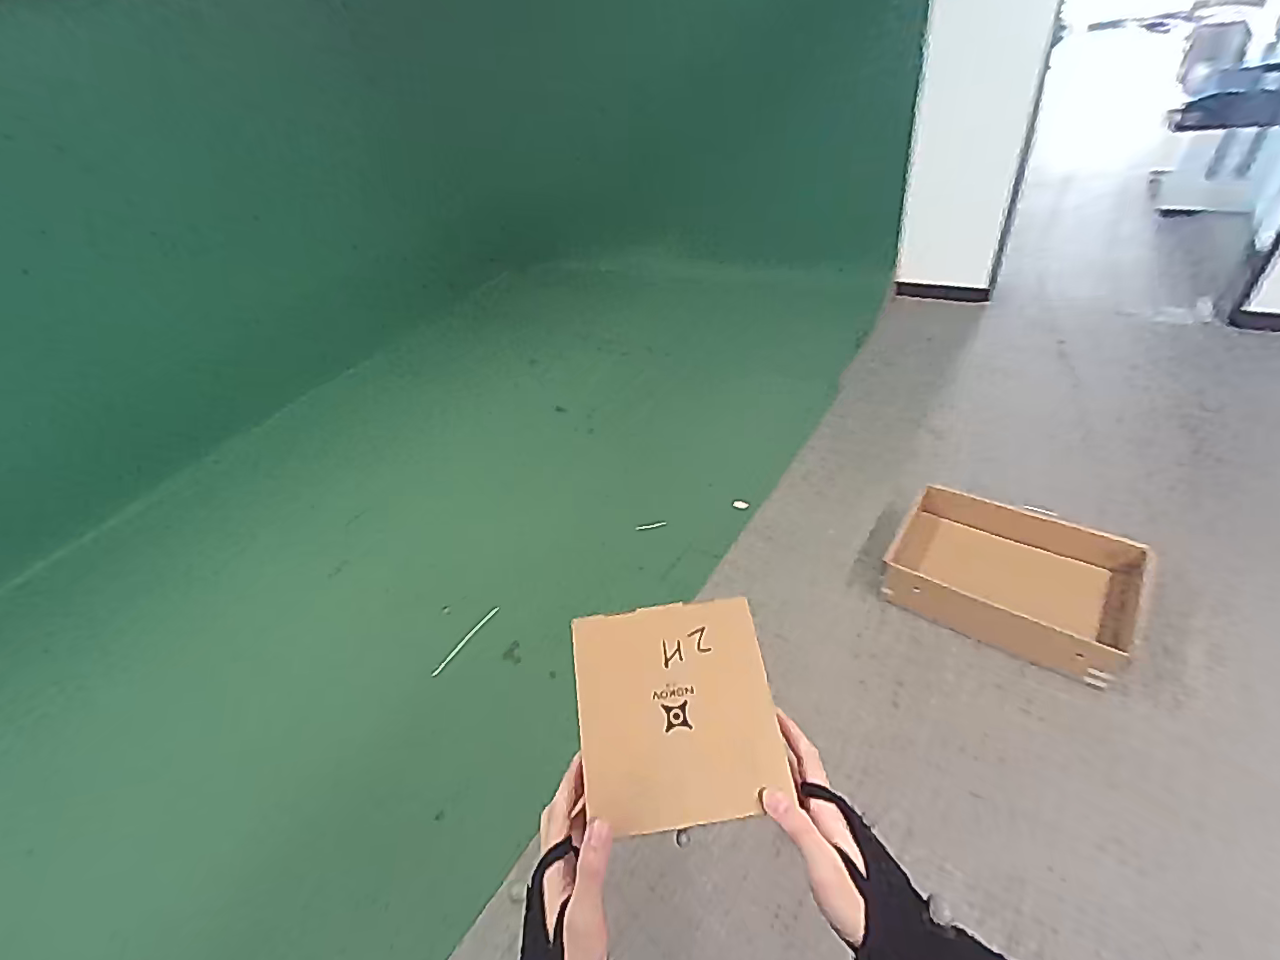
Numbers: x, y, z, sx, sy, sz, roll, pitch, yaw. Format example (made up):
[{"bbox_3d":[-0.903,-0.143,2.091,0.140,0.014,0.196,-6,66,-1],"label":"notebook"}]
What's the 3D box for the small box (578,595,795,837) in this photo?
[{"bbox_3d":[0.033,0.230,0.523,0.168,0.176,0.179,-6,57,-4],"label":"small box"}]
